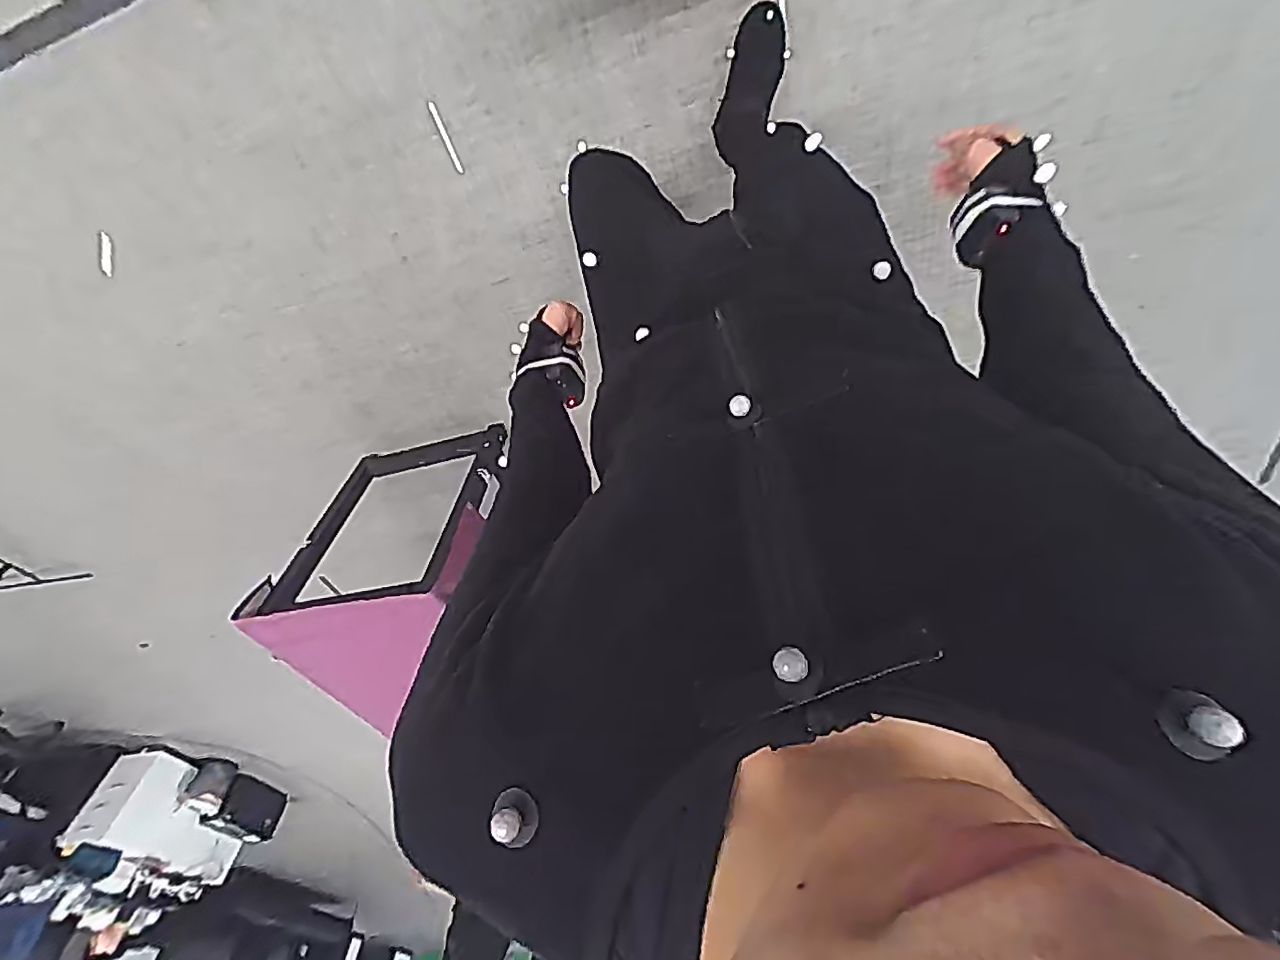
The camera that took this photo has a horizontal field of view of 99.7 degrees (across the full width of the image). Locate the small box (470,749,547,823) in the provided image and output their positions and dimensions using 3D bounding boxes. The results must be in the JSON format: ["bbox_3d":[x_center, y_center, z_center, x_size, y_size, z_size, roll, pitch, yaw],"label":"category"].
[{"bbox_3d":[-0.440,1.039,1.840,0.179,0.176,0.168,-18,128,18],"label":"small box"}]
